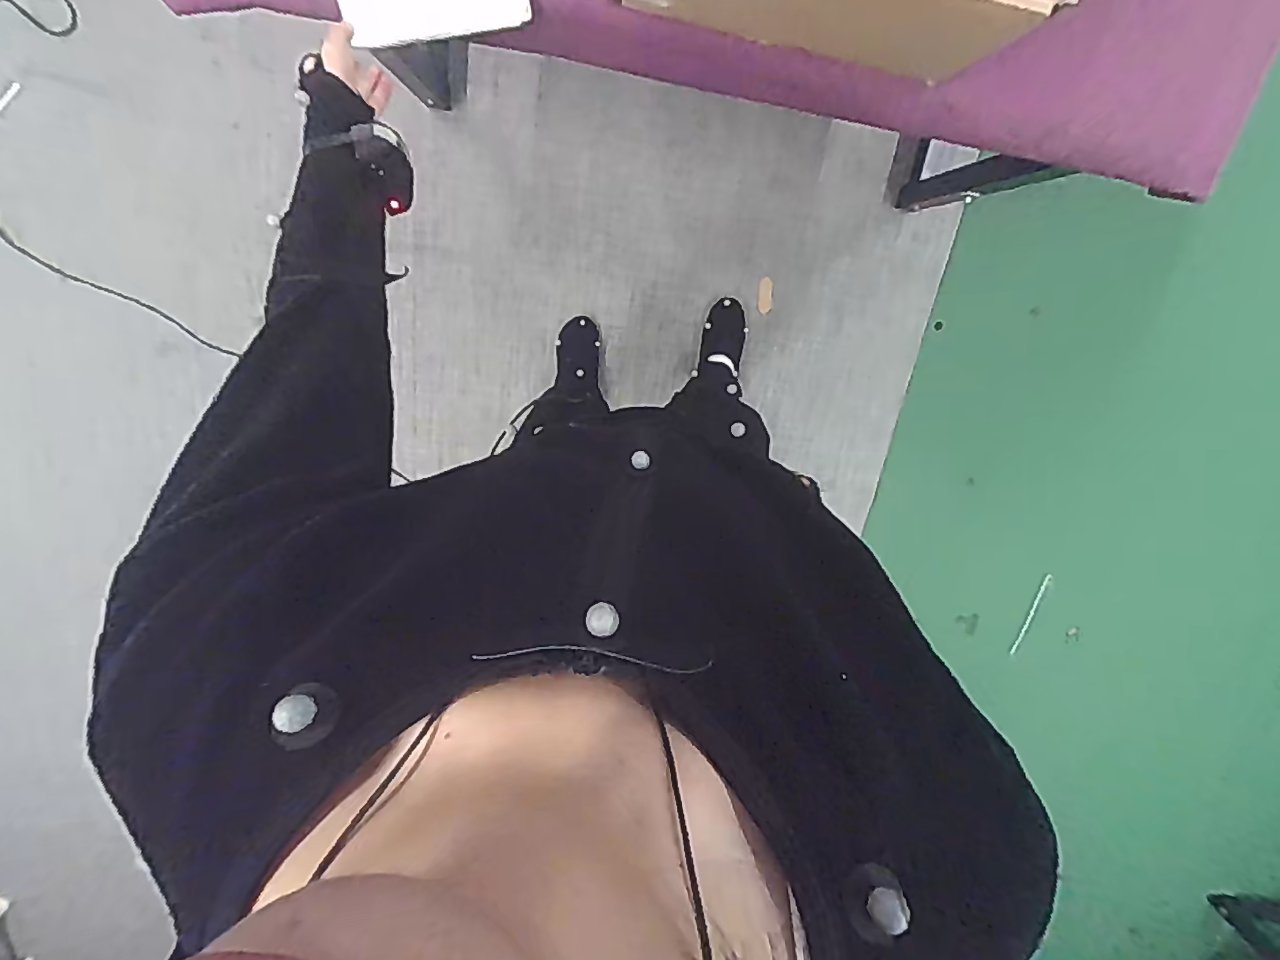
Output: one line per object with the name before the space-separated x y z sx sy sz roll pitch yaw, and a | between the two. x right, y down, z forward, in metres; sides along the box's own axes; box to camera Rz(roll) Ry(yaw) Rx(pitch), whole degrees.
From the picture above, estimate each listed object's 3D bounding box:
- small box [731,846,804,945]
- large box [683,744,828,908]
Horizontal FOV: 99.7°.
small box | 0.365 1.202 1.575 0.168 0.176 0.179 -1 109 -2
large box | 0.377 1.146 1.820 0.408 0.320 0.320 -7 111 -3
